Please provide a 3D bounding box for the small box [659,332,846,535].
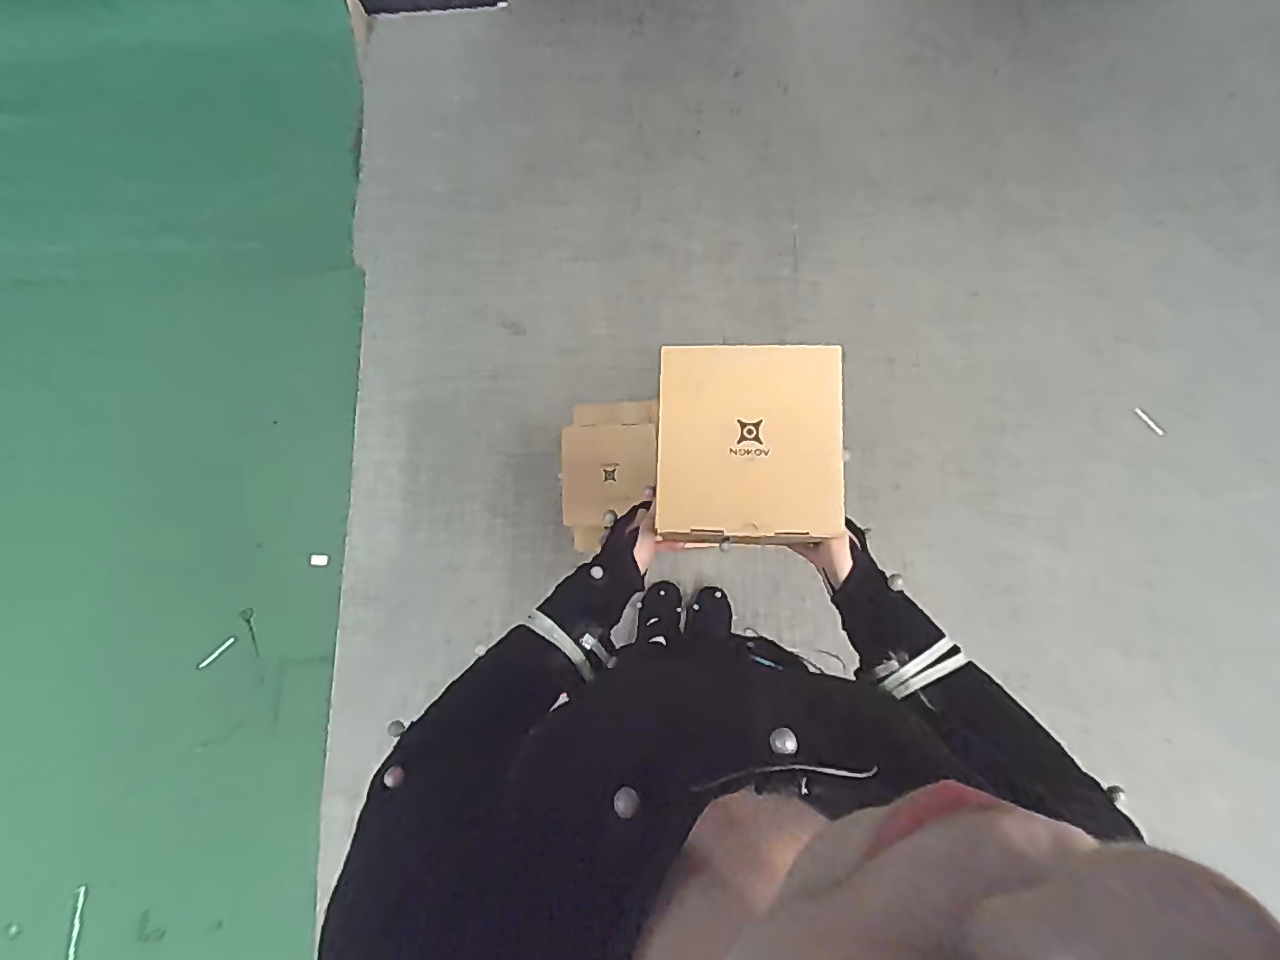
[{"bbox_3d":[0.106,-0.037,0.564,0.168,0.176,0.179,2,82,5],"label":"small box"}]
